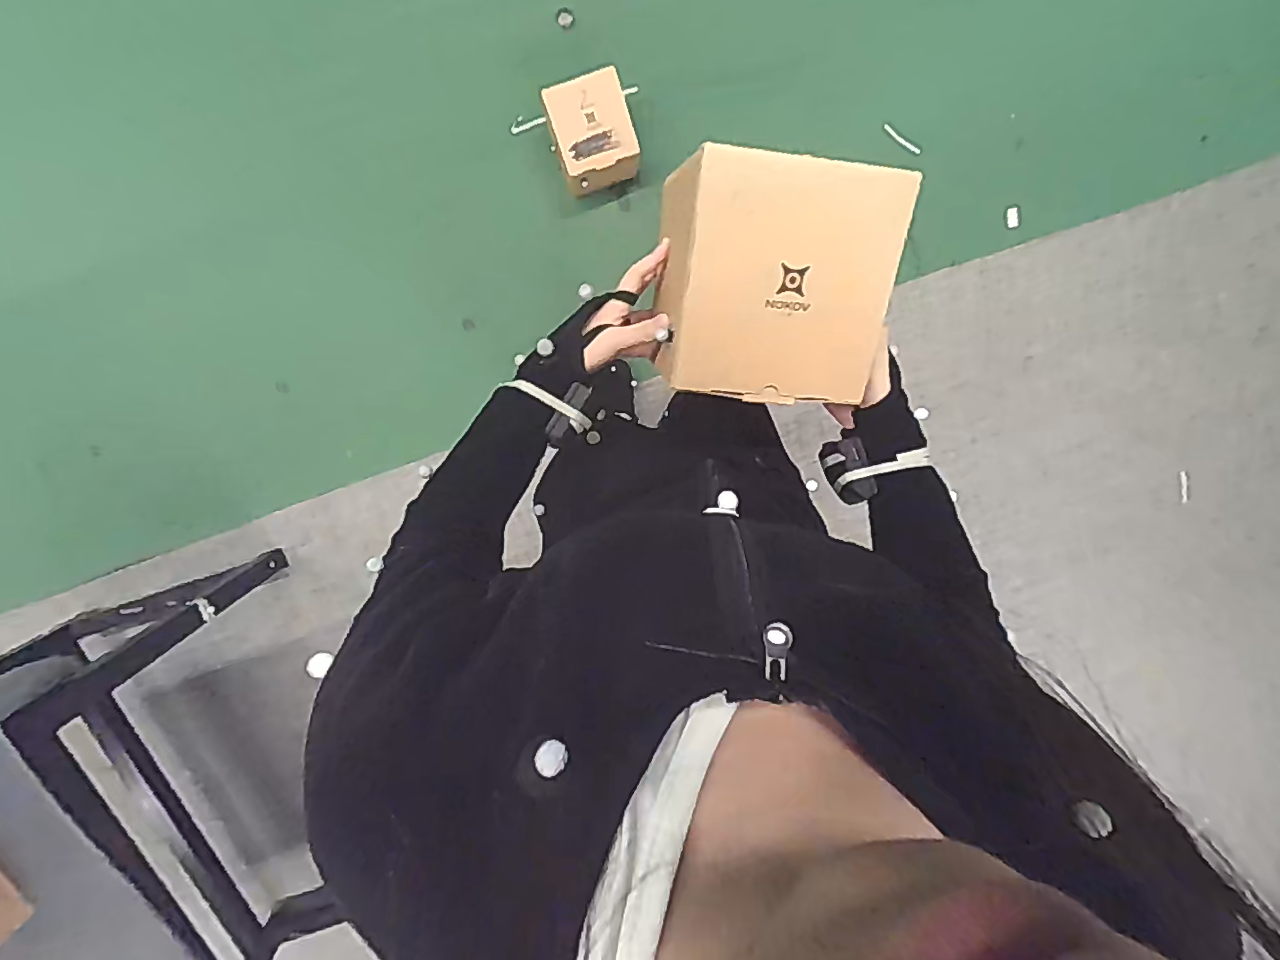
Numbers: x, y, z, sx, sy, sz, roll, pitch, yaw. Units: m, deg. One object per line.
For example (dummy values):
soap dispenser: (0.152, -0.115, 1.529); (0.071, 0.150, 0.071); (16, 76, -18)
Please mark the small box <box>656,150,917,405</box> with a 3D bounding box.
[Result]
small box: (0.110, -0.178, 0.495); (0.168, 0.176, 0.179); (3, 112, -7)
